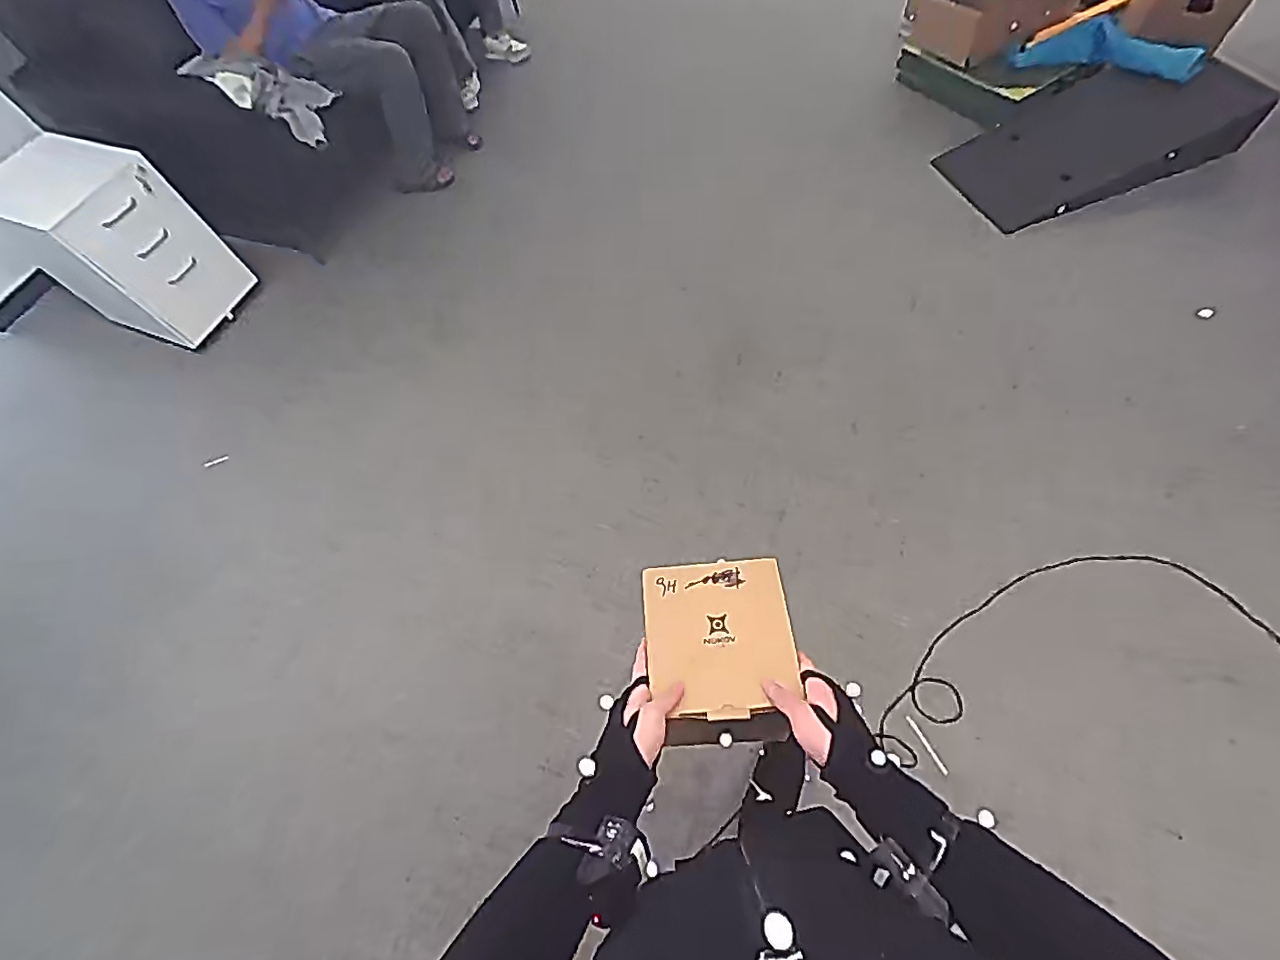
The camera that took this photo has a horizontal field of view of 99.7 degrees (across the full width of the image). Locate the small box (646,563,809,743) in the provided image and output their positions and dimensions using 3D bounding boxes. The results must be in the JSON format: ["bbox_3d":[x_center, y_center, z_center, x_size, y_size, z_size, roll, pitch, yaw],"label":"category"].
[{"bbox_3d":[0.103,0.227,0.689,0.168,0.176,0.179,-7,55,1],"label":"small box"}]
